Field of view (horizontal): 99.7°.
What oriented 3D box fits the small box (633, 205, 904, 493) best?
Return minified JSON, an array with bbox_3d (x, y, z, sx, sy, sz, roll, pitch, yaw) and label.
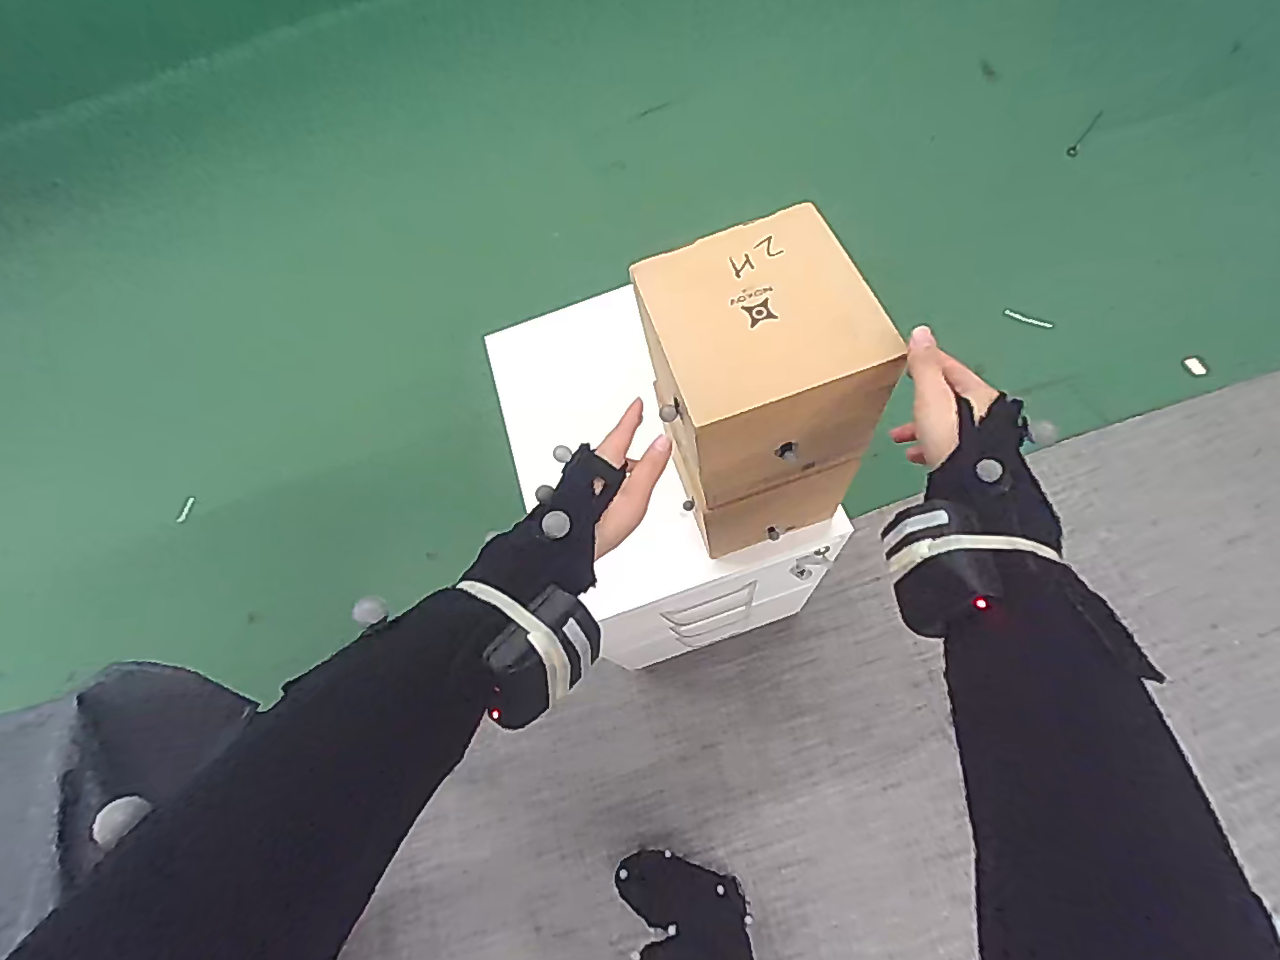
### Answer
[{"bbox_3d":[0.106,-0.103,0.498,0.168,0.176,0.179,-18,64,1],"label":"small box"}]
